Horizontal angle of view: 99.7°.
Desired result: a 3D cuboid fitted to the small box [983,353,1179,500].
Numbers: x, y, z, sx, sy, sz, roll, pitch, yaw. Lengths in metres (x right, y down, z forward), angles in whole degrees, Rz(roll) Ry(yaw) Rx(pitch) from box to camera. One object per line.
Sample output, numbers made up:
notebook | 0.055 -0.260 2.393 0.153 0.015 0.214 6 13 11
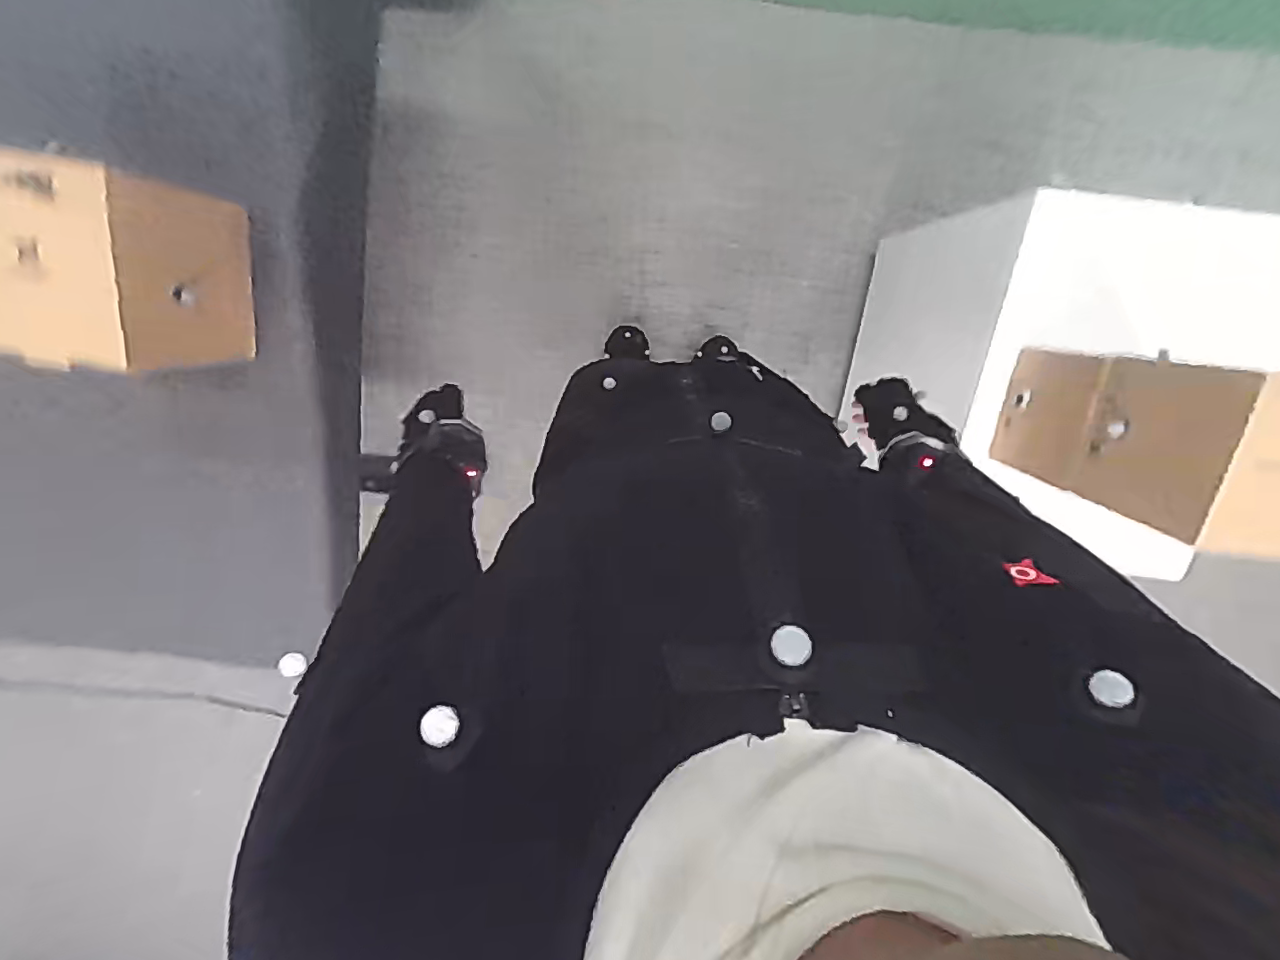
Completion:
small box | 0.591 -0.069 0.695 0.179 0.176 0.168 6 107 2

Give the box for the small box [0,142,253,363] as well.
small box | -0.543 -0.231 0.564 0.168 0.176 0.179 10 108 1

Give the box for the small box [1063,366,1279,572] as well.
small box | 0.586 -0.020 0.538 0.179 0.176 0.168 4 108 0
